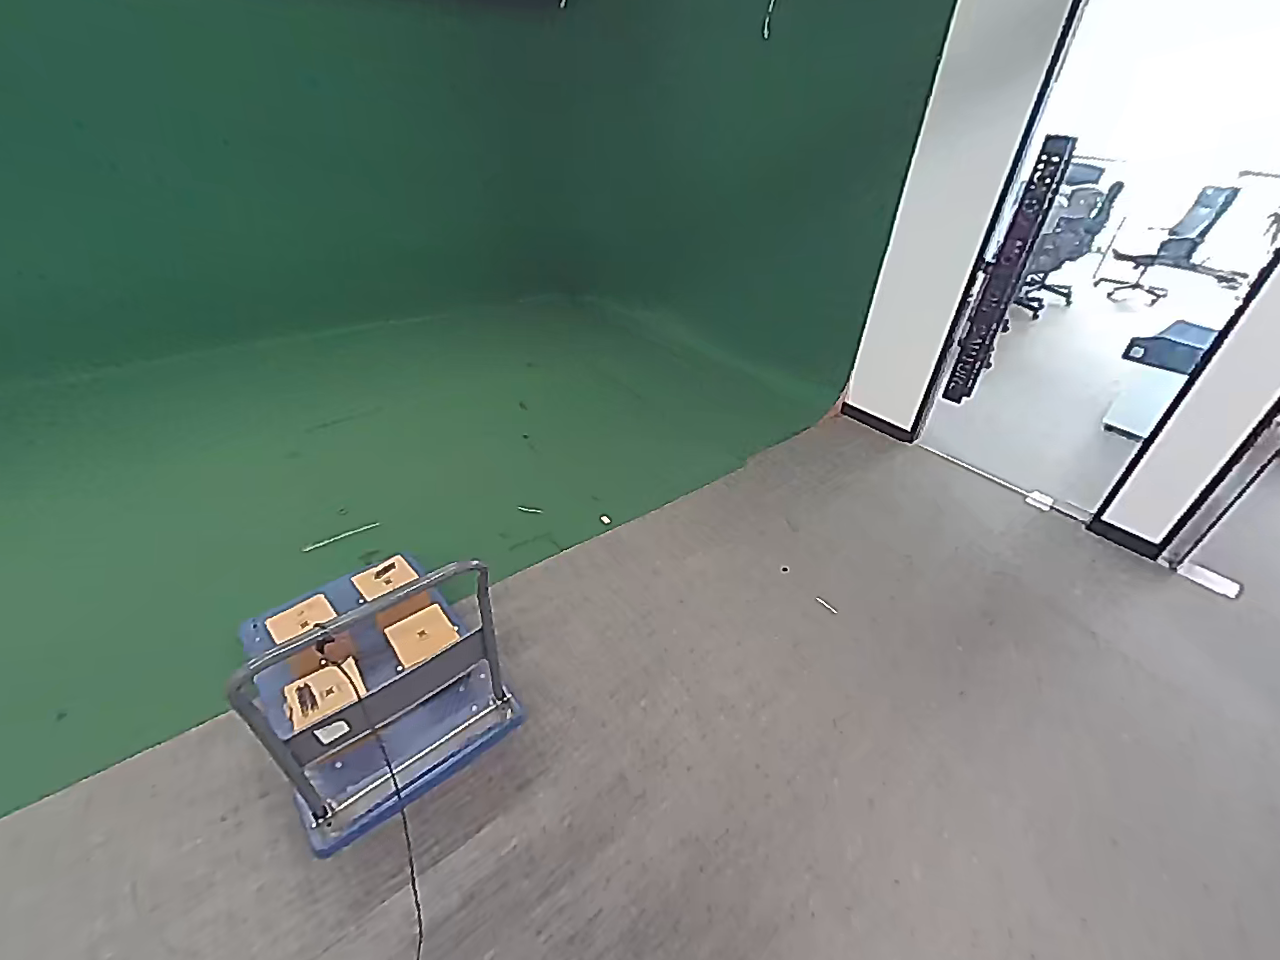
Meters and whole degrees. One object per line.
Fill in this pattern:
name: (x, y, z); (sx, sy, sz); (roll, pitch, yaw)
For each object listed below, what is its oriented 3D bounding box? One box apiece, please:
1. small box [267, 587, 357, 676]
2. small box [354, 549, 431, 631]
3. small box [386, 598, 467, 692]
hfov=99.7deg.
small box: (-0.998, 0.470, 1.653); (0.168, 0.176, 0.179); (-28, 47, -35)
small box: (-0.818, 0.368, 1.799); (0.168, 0.176, 0.179); (-30, 49, -34)
small box: (-0.644, 0.500, 1.640); (0.168, 0.176, 0.179); (-25, 46, -32)
